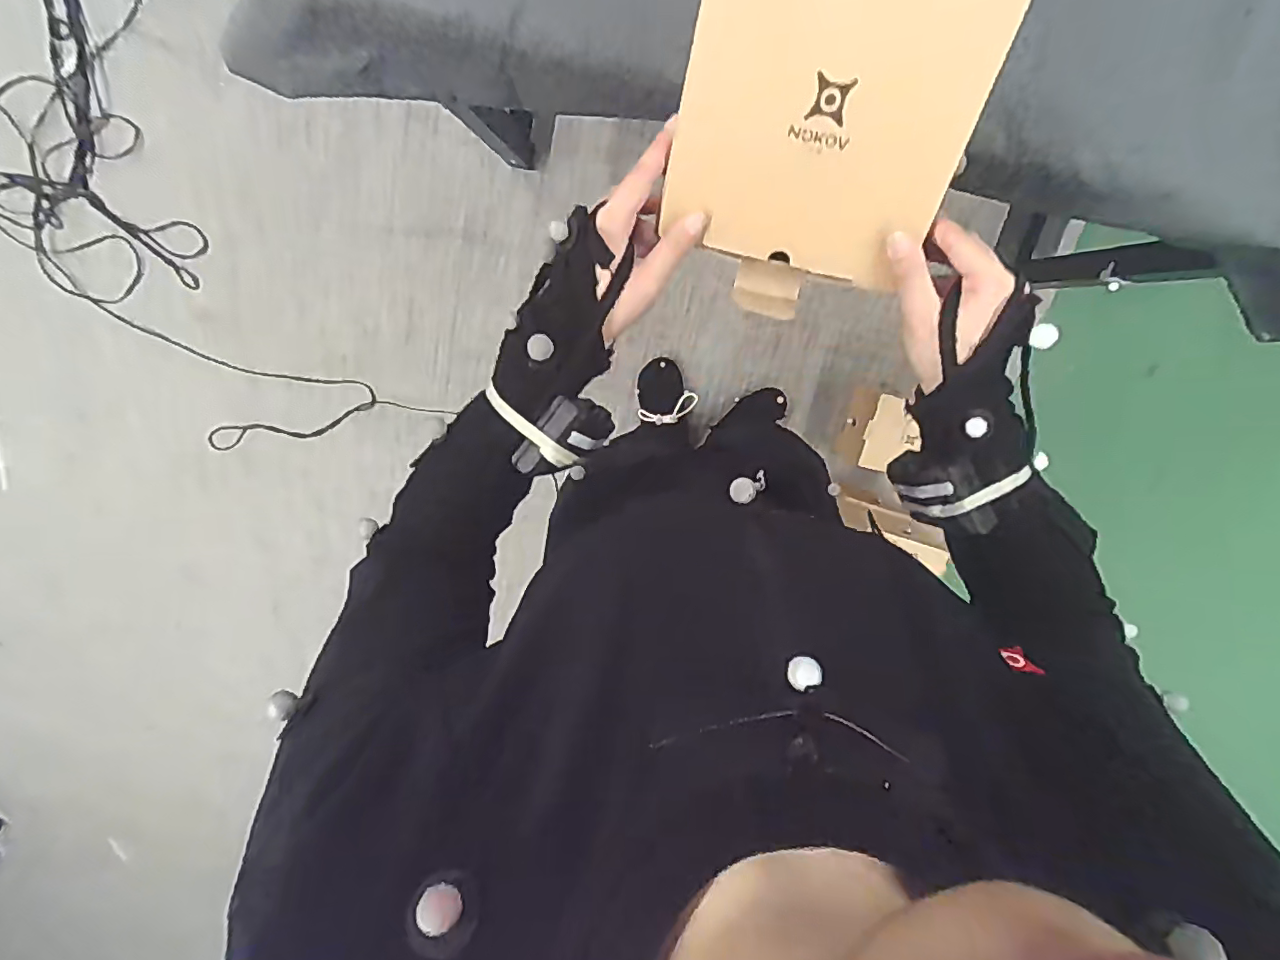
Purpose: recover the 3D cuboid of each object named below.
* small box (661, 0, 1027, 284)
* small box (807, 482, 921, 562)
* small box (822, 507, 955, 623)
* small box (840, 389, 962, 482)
[{"bbox_3d":[0.117,-0.256,0.373,0.168,0.176,0.179,13,122,1],"label":"small box"},{"bbox_3d":[0.532,0.120,1.310,0.179,0.176,0.168,18,106,-1],"label":"small box"},{"bbox_3d":[0.519,0.172,1.155,0.179,0.176,0.168,18,106,-1],"label":"small box"},{"bbox_3d":[0.584,-0.109,1.238,0.179,0.176,0.168,12,106,-1],"label":"small box"}]
